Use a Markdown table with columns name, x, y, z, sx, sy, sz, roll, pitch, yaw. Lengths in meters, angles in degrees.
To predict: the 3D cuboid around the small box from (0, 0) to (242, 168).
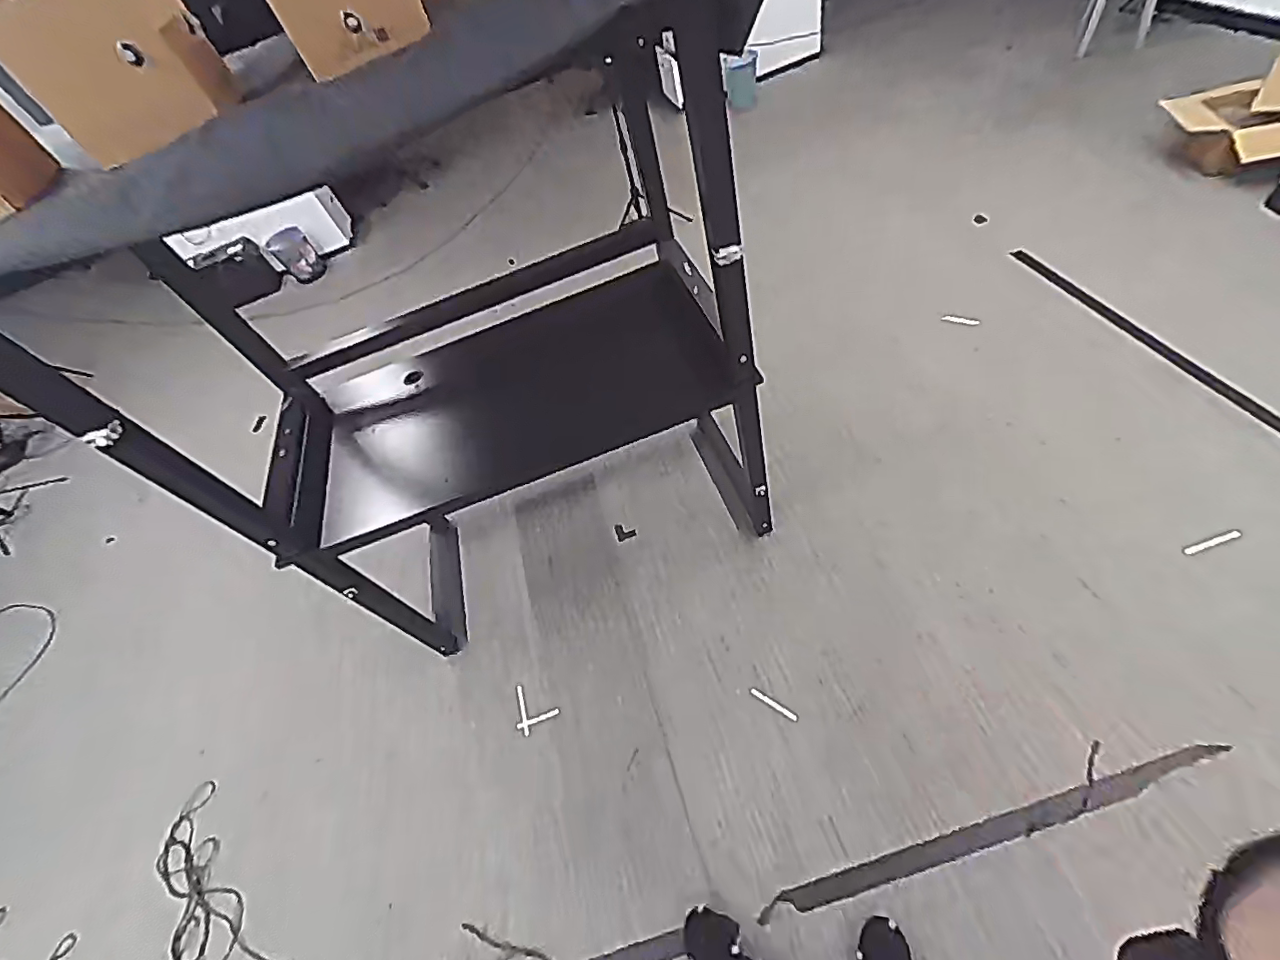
| name | x | y | z | sx | sy | sz | roll | pitch | yaw |
| --- | --- | --- | --- | --- | --- | --- | --- | --- | --- |
| small box | -0.665 | -0.539 | 0.699 | 0.179 | 0.176 | 0.168 | -23 | 49 | -3 |

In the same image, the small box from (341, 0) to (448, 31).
| name | x | y | z | sx | sy | sz | roll | pitch | yaw |
| --- | --- | --- | --- | --- | --- | --- | --- | --- | --- |
| small box | -0.406 | -0.833 | 0.835 | 0.168 | 0.176 | 0.179 | -21 | 51 | 2 |

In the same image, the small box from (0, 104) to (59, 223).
| name | x | y | z | sx | sy | sz | roll | pitch | yaw |
| --- | --- | --- | --- | --- | --- | --- | --- | --- | --- |
| small box | -0.924 | -0.425 | 0.692 | 0.168 | 0.176 | 0.179 | -24 | 52 | -2 |
